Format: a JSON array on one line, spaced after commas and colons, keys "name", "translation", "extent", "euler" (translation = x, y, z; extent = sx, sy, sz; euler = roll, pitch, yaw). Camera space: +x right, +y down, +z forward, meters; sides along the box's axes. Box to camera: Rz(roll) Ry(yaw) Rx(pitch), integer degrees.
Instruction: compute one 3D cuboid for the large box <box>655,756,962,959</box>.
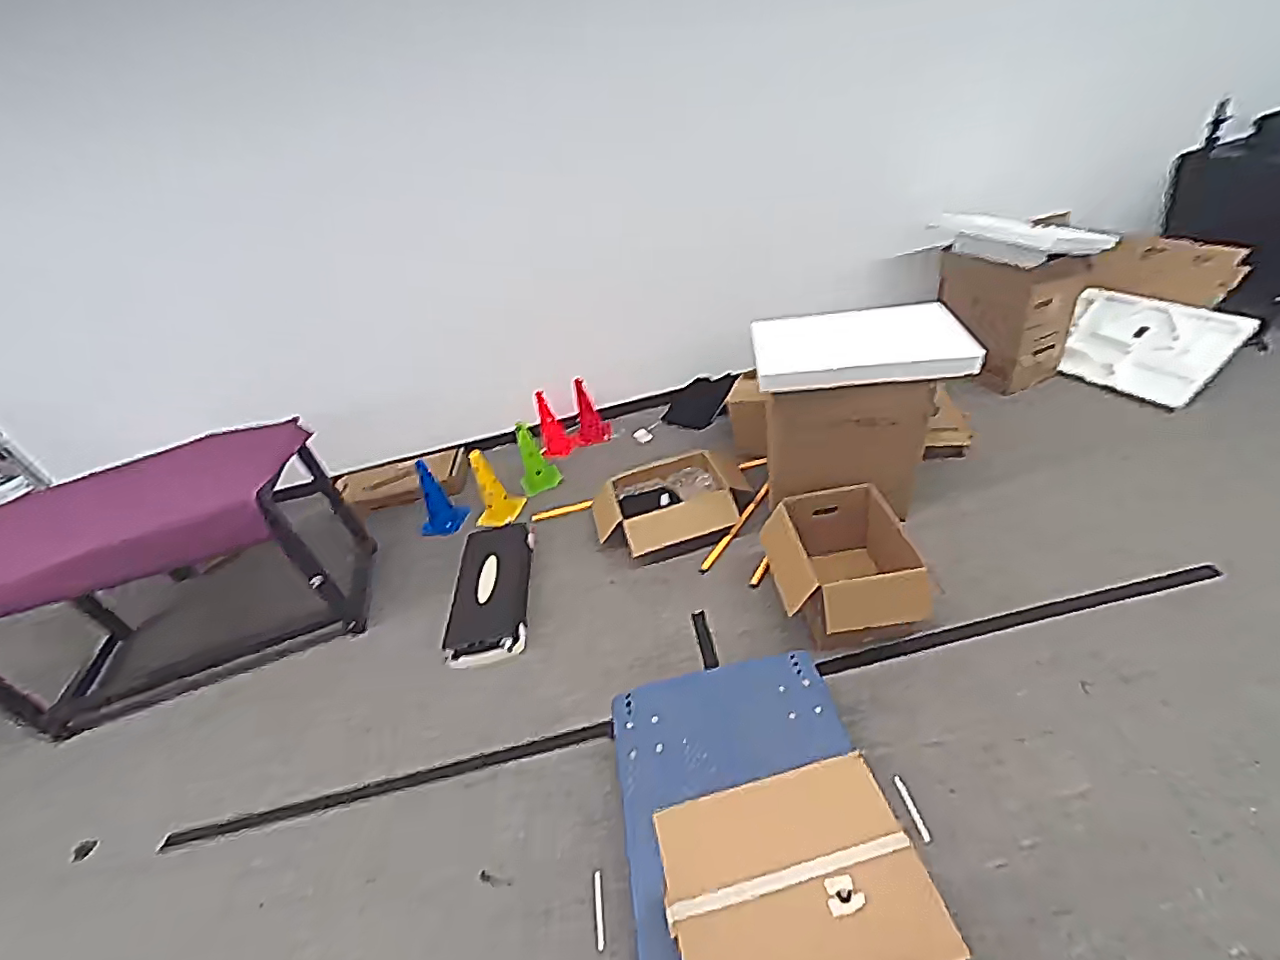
[{"name": "large box", "translation": [0.271, 0.776, 0.970], "extent": [0.408, 0.320, 0.320], "euler": [-15, 36, -4]}]
